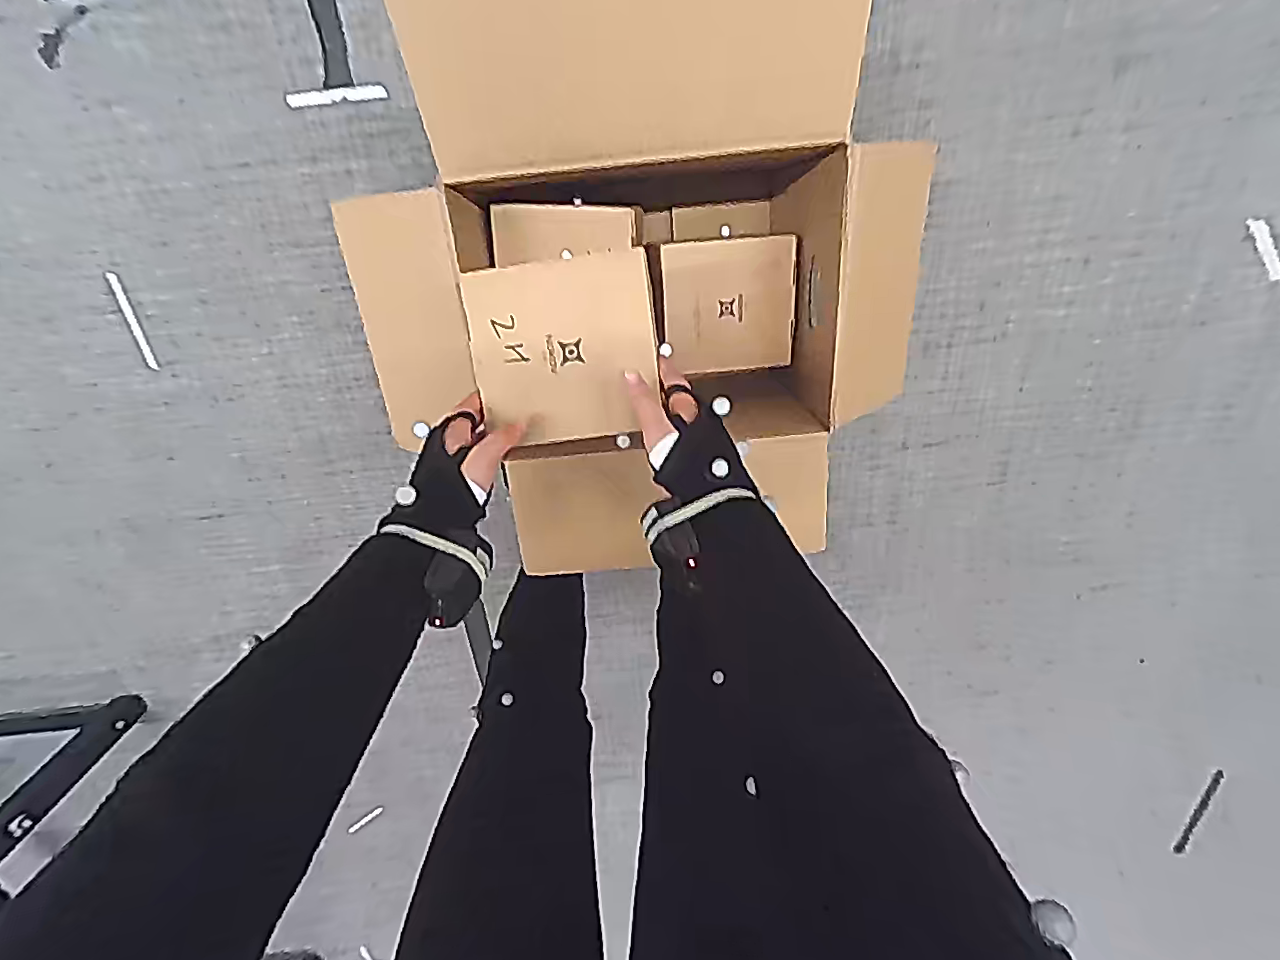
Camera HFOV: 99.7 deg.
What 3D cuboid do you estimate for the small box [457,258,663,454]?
[{"bbox_3d":[-0.070,-0.125,0.582,0.179,0.176,0.168,-6,98,4],"label":"small box"}]
